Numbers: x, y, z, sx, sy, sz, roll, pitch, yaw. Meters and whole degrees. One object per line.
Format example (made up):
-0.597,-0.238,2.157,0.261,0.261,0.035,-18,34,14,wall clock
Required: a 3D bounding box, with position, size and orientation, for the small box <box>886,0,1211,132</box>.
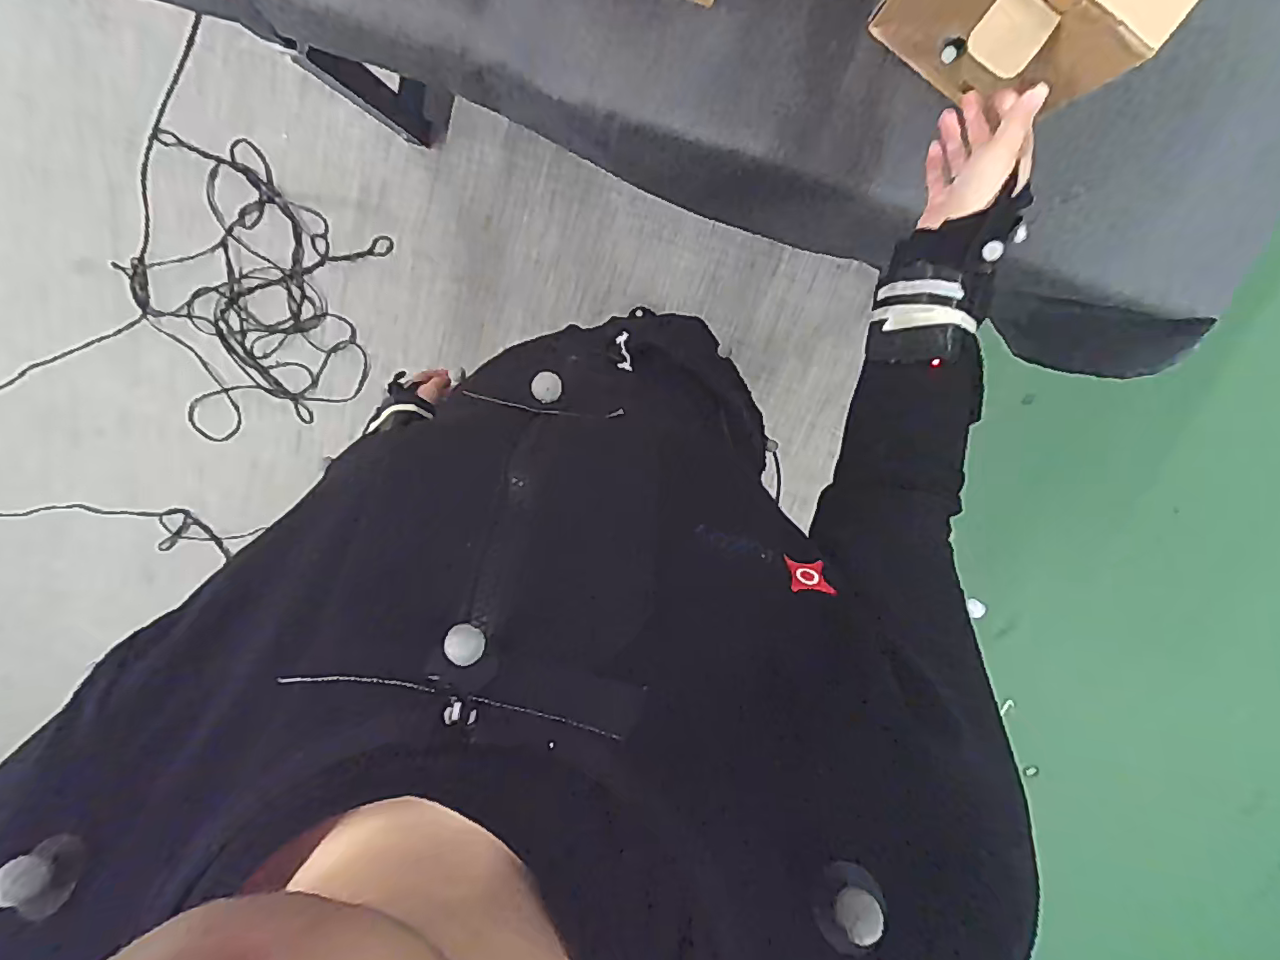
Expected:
0.319,-0.406,0.394,0.168,0.176,0.179,33,105,-7,small box
